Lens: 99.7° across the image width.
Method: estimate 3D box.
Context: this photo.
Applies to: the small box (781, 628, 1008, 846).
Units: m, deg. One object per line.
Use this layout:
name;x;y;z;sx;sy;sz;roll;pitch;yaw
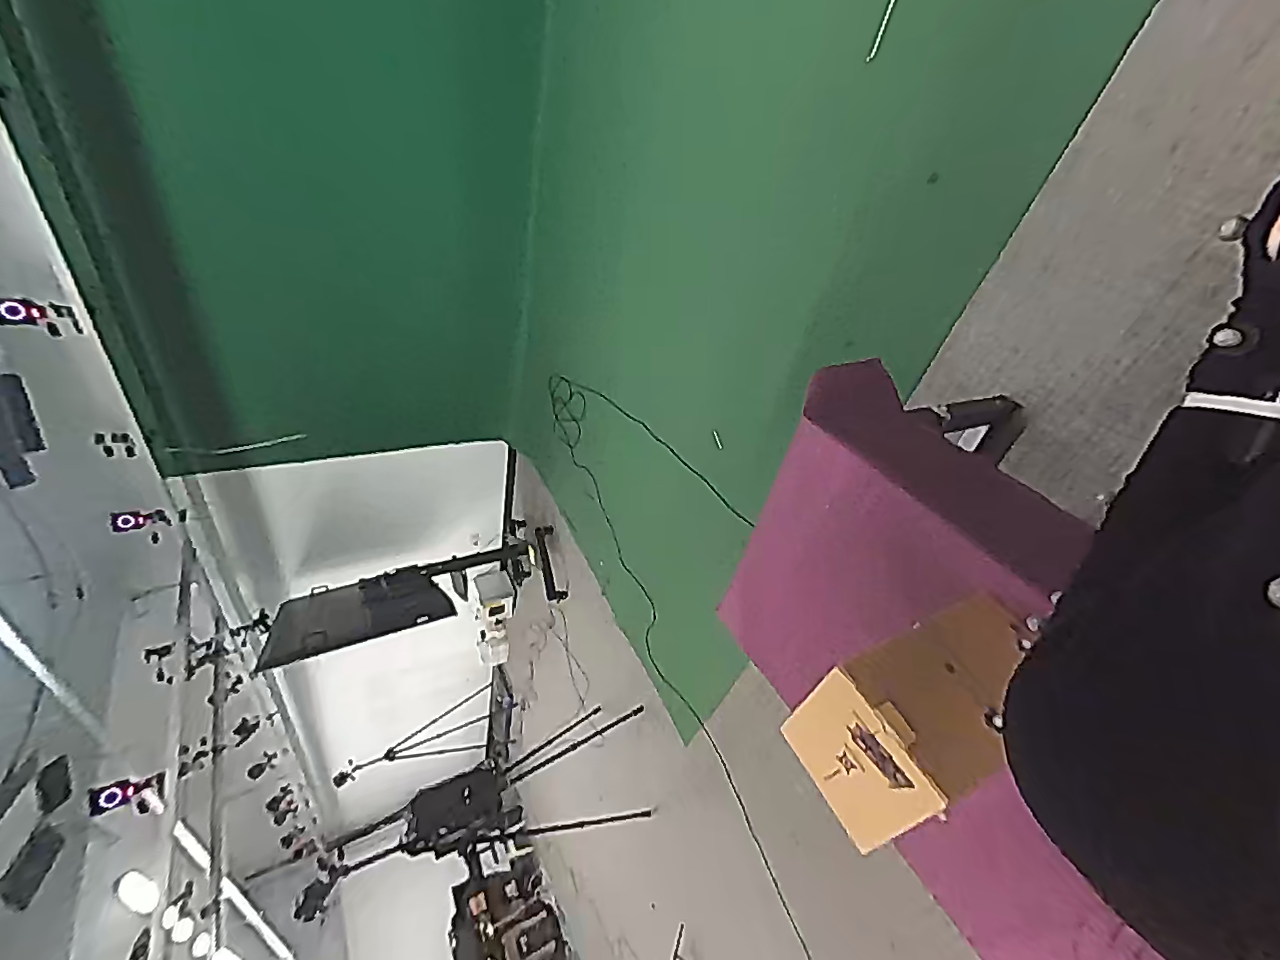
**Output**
small box;0.320;0.316;0.687;0.168;0.176;0.179;56;144;37
